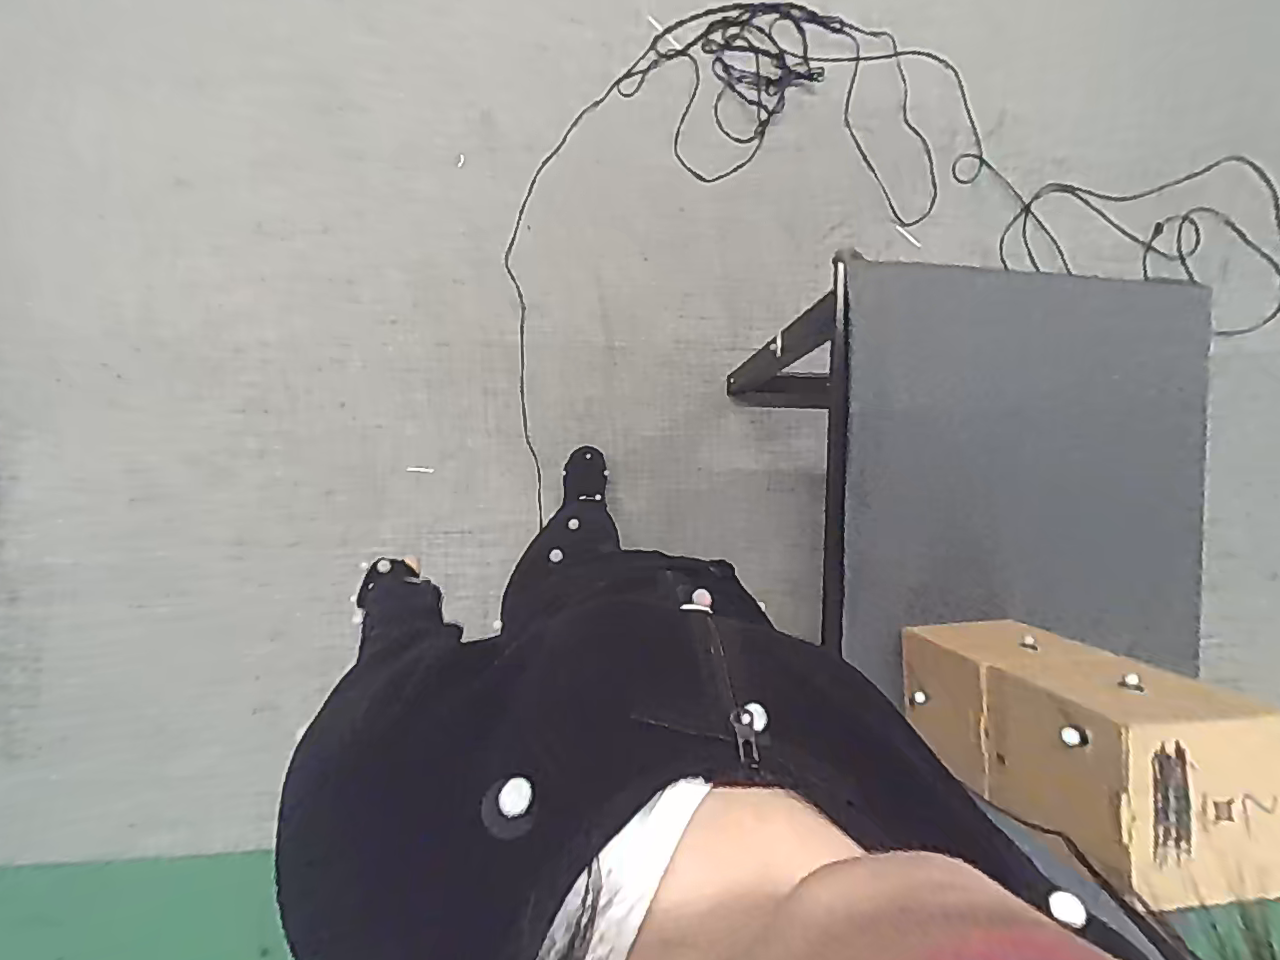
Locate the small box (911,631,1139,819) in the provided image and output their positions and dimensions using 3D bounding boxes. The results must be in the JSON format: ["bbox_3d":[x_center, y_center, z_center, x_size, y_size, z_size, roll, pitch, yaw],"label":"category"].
[{"bbox_3d":[0.484,0.301,0.701,0.179,0.176,0.168,-2,88,-5],"label":"small box"}]
